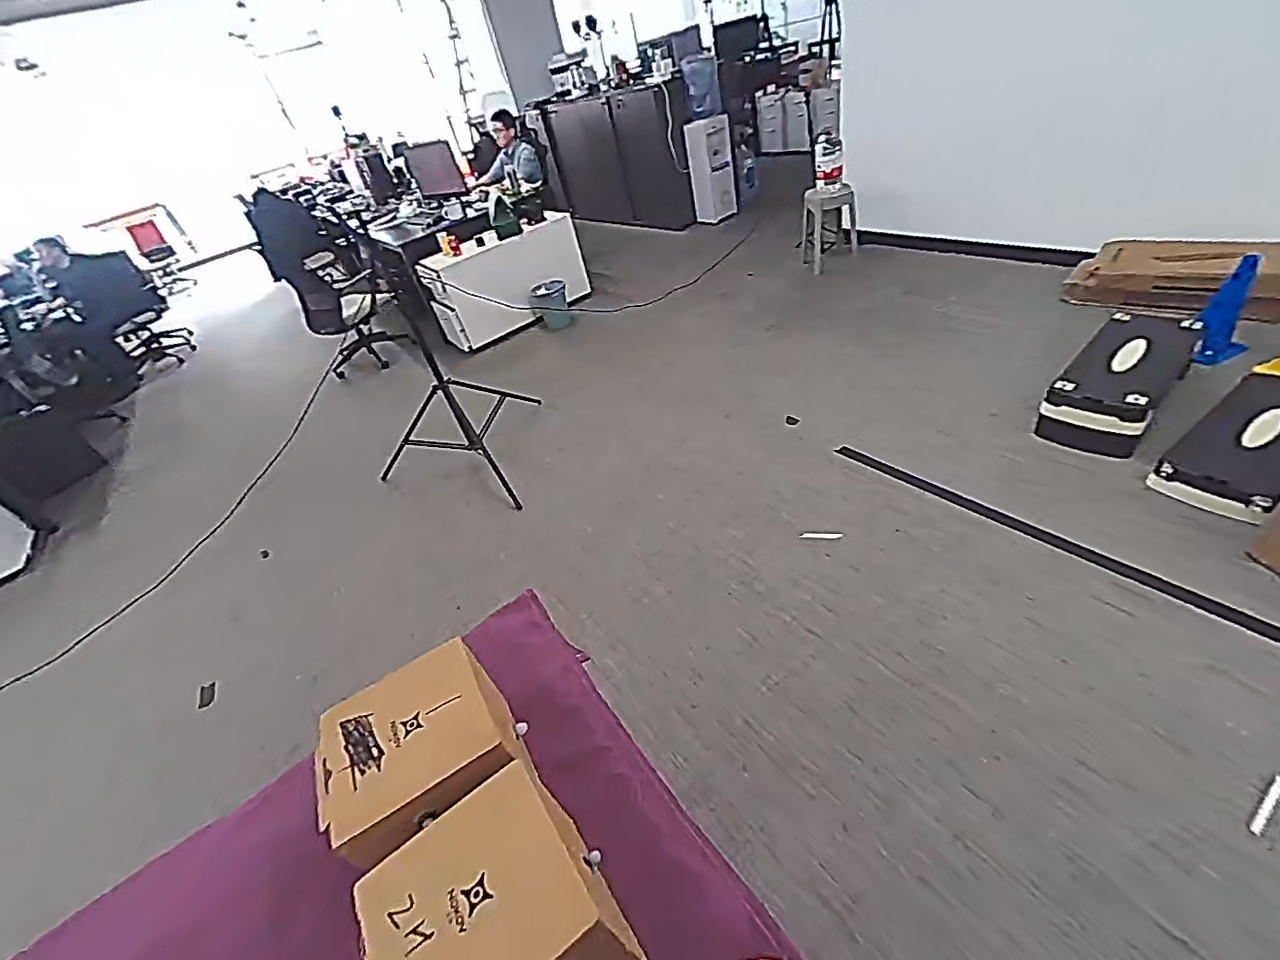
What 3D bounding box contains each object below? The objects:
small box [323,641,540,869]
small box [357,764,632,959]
[{"bbox_3d":[-0.241,0.338,0.644,0.179,0.176,0.168,-28,41,-17],"label":"small box"},{"bbox_3d":[-0.123,0.419,0.503,0.179,0.176,0.168,-33,39,-19],"label":"small box"}]
